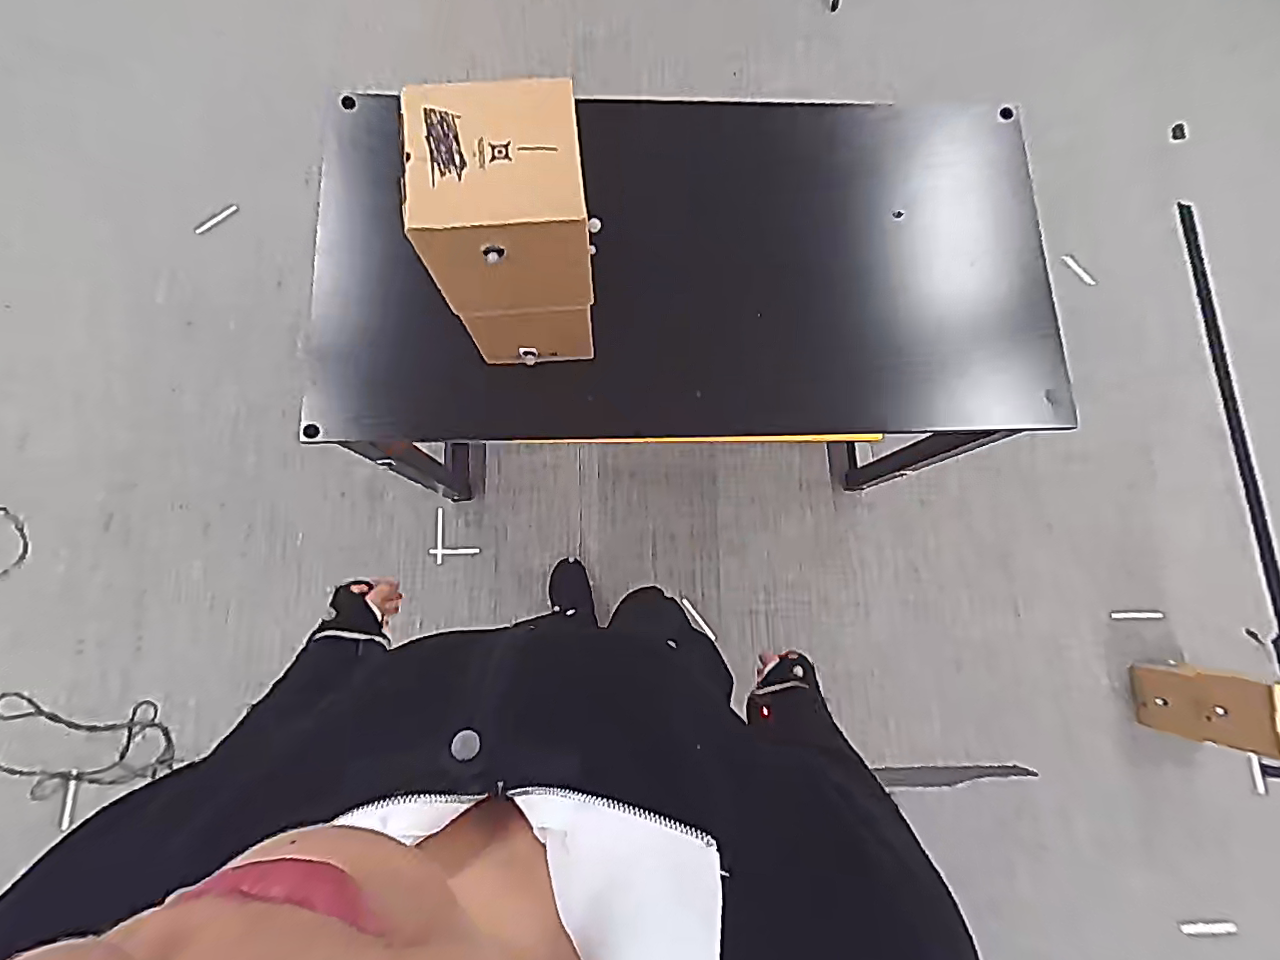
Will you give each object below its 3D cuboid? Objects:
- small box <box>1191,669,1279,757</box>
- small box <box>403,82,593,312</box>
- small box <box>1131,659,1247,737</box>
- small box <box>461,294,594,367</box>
[{"bbox_3d":[1.485,0.551,1.286,0.179,0.176,0.168,4,79,-2],"label":"small box"},{"bbox_3d":[-0.150,-0.307,0.617,0.179,0.176,0.168,-6,80,-4],"label":"small box"},{"bbox_3d":[1.473,0.579,1.449,0.179,0.176,0.168,-2,80,-3],"label":"small box"},{"bbox_3d":[-0.156,-0.281,0.779,0.168,0.176,0.179,-5,81,-3],"label":"small box"}]
